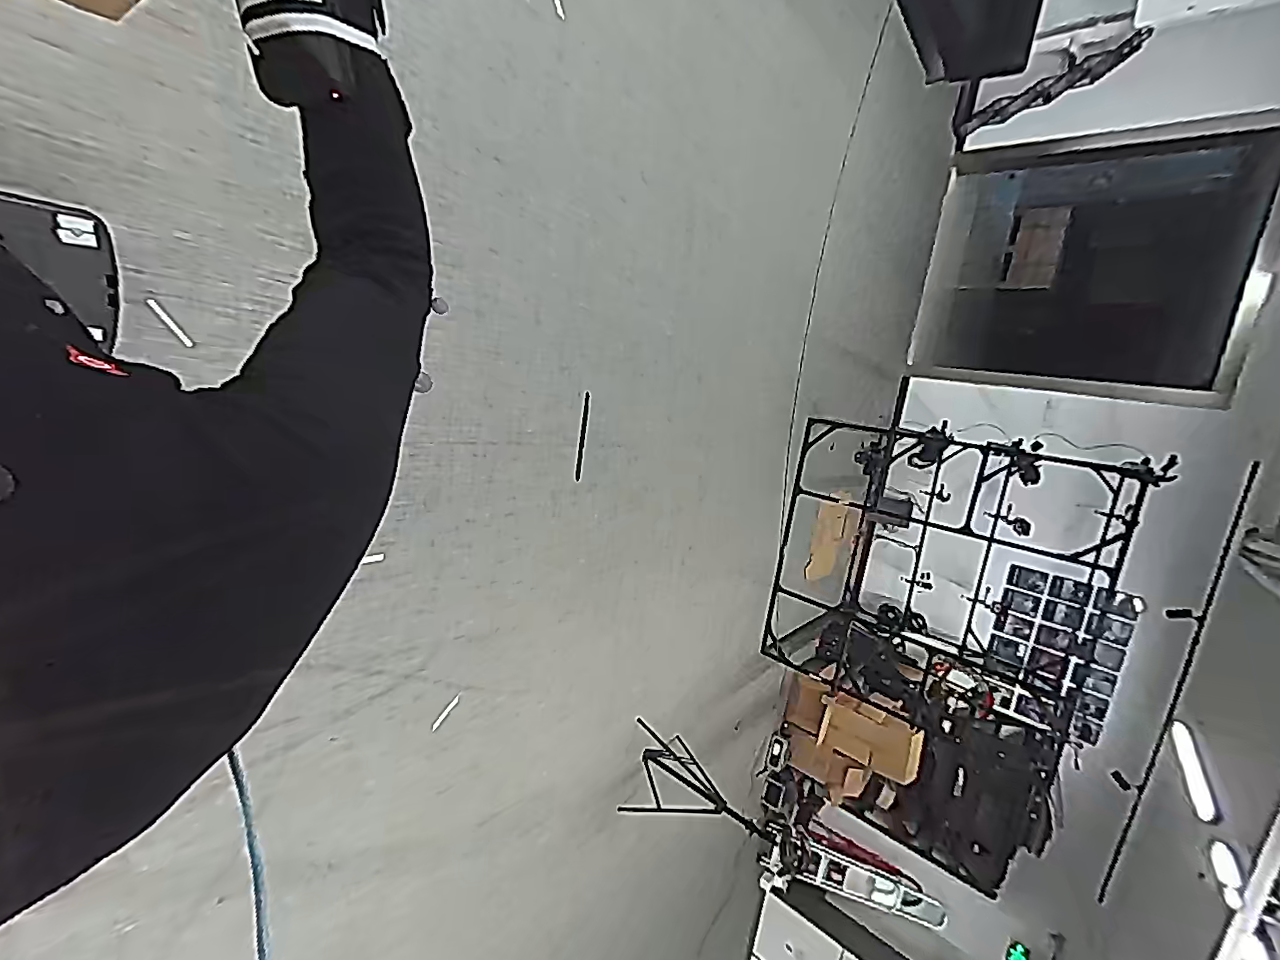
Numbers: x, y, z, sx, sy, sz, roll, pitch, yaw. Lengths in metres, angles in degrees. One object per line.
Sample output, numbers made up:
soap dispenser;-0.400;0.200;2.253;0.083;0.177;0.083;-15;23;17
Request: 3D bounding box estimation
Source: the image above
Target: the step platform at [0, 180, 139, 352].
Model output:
step platform;-1.268;-0.384;0.866;0.684;0.204;0.286;-7;109;-51
